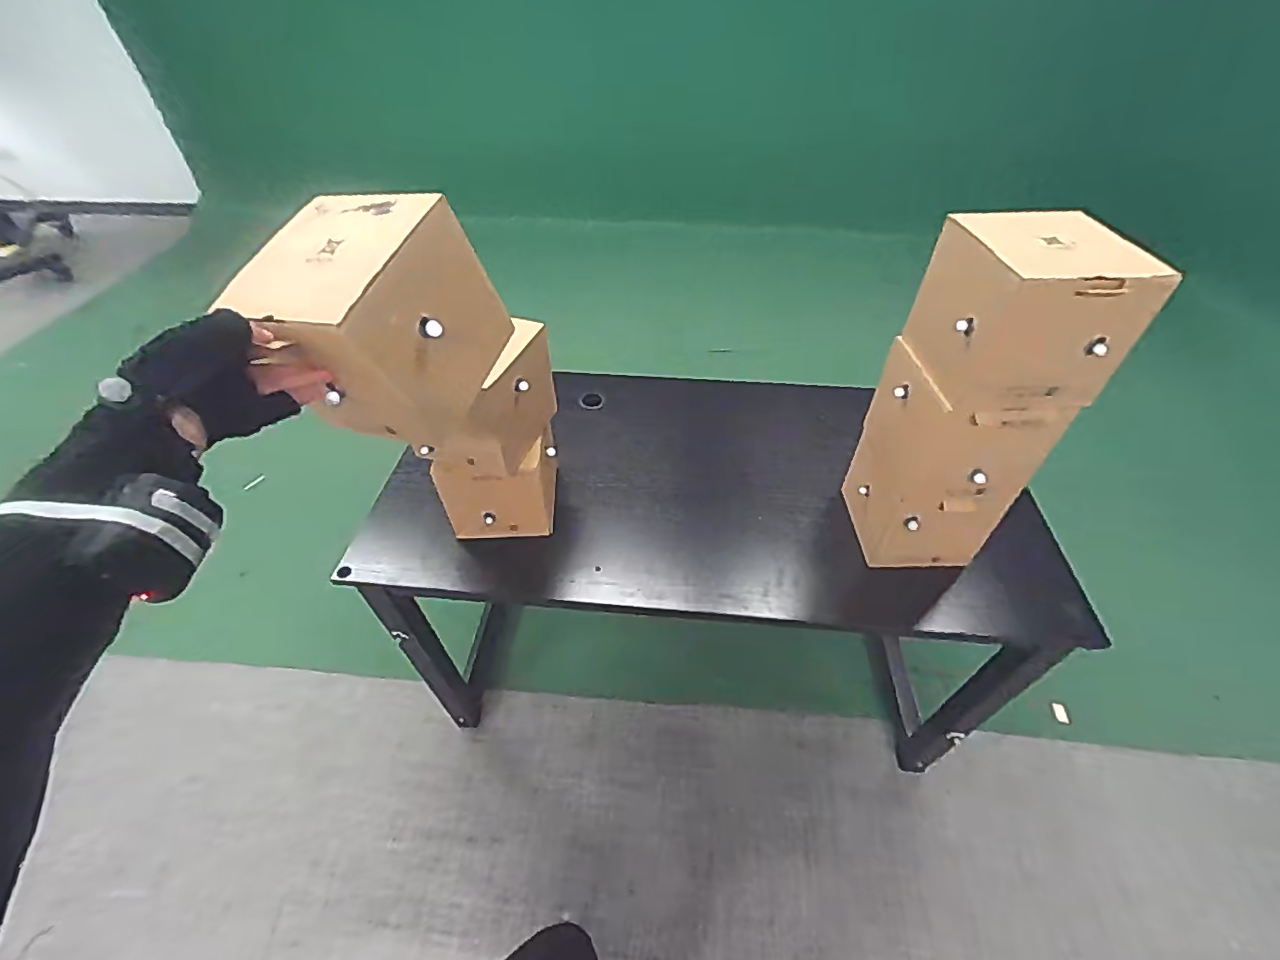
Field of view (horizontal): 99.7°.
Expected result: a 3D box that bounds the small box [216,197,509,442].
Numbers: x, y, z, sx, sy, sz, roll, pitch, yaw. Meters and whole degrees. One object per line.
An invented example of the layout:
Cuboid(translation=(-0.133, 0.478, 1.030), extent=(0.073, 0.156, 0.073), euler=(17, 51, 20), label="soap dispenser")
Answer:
Cuboid(translation=(-0.261, -0.160, 0.557), extent=(0.168, 0.176, 0.179), euler=(11, 63, 19), label="small box")

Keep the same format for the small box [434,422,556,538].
Cuboid(translation=(-0.240, -0.018, 0.942), extent=(0.168, 0.176, 0.179), euler=(-2, 48, -2), label="small box")

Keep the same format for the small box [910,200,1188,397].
Cuboid(translation=(0.454, -0.210, 0.640), extent=(0.168, 0.176, 0.179), euler=(-2, 46, -1), label="small box")

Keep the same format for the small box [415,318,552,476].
Cuboid(translation=(-0.244, -0.131, 0.822), extent=(0.168, 0.176, 0.179), euler=(14, 48, 12), label="small box")

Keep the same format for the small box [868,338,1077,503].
Cuboid(translation=(0.449, -0.086, 0.770), extent=(0.168, 0.176, 0.179), euler=(-2, 46, -1), label="small box")
